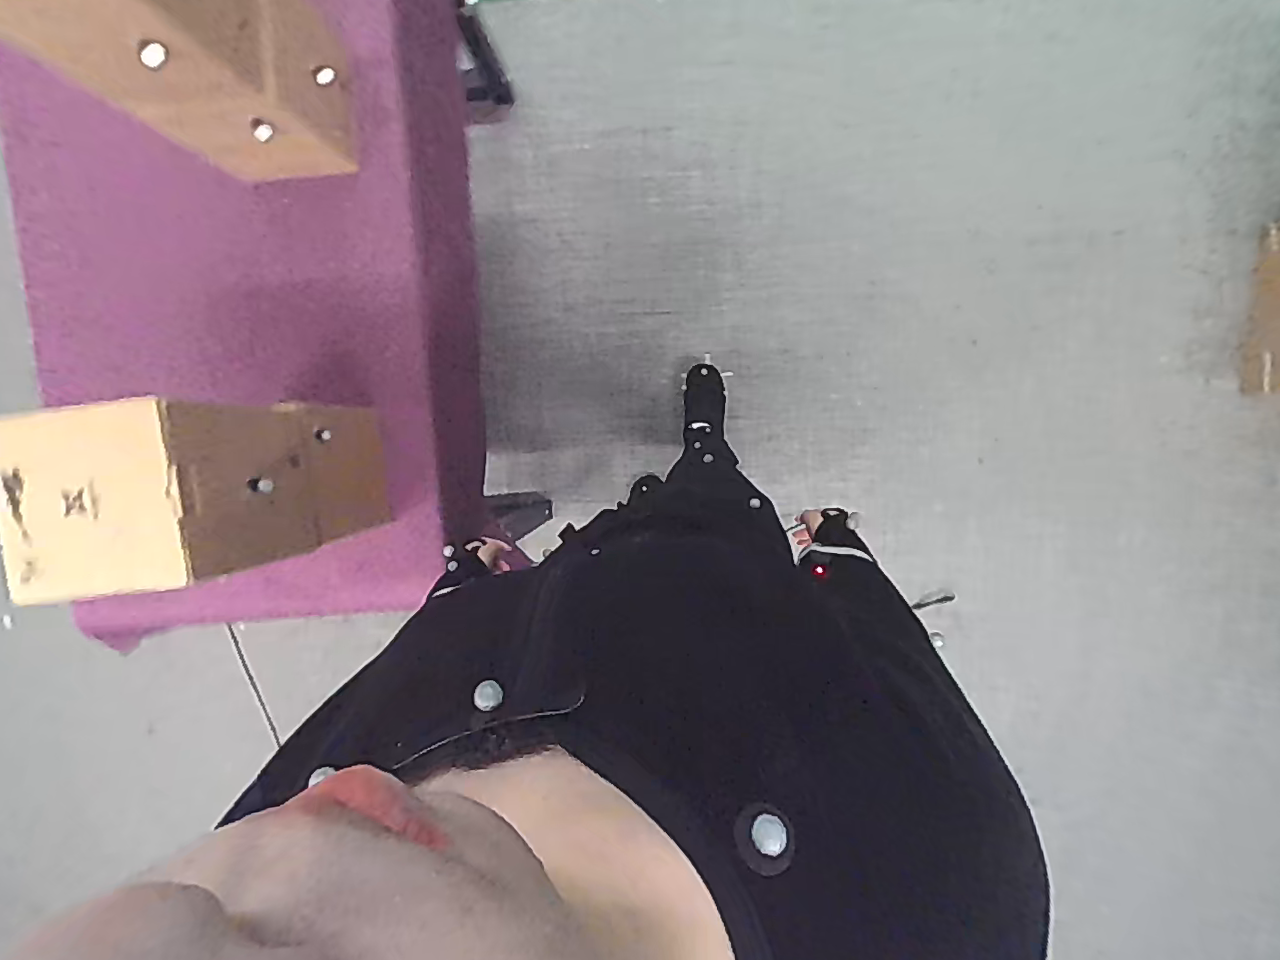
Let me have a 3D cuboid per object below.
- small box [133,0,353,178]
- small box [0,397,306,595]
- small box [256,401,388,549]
[{"bbox_3d":[-0.487,-0.507,0.681,0.179,0.176,0.168,-3,94,5],"label":"small box"},{"bbox_3d":[-0.475,0.010,0.554,0.179,0.176,0.168,-6,92,5],"label":"small box"},{"bbox_3d":[-0.458,-0.005,0.717,0.168,0.176,0.179,-6,93,5],"label":"small box"}]
